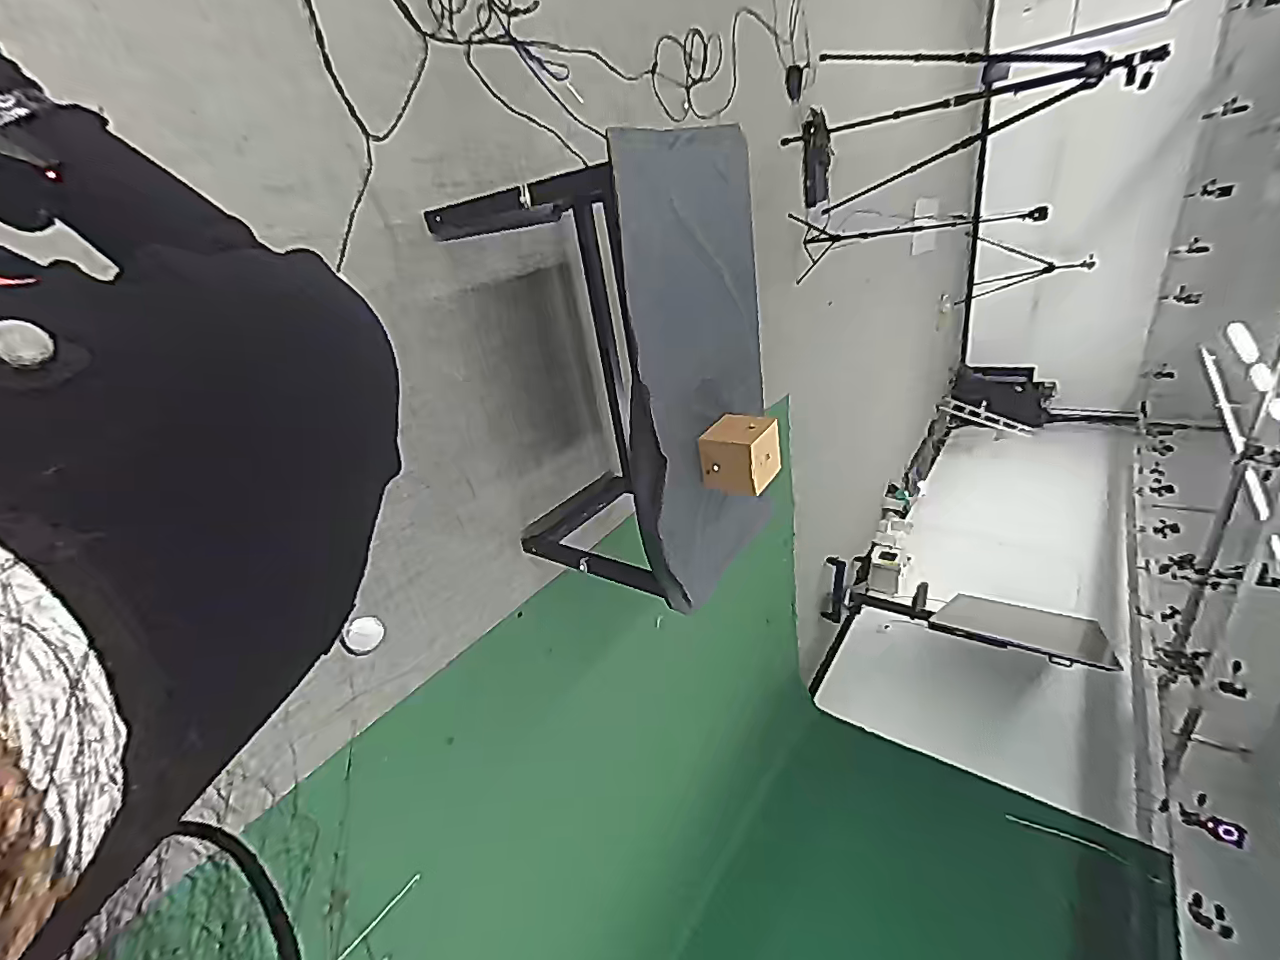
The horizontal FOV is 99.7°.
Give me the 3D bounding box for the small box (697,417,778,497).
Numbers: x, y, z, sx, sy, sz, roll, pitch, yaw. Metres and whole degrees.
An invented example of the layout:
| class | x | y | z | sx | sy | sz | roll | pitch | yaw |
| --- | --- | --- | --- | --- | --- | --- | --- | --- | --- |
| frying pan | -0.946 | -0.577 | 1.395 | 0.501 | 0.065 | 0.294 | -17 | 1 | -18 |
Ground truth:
| class | x | y | z | sx | sy | sz | roll | pitch | yaw |
| --- | --- | --- | --- | --- | --- | --- | --- | --- | --- |
| small box | 0.284 | -0.075 | 1.570 | 0.179 | 0.176 | 0.168 | -39 | 127 | -41 |
